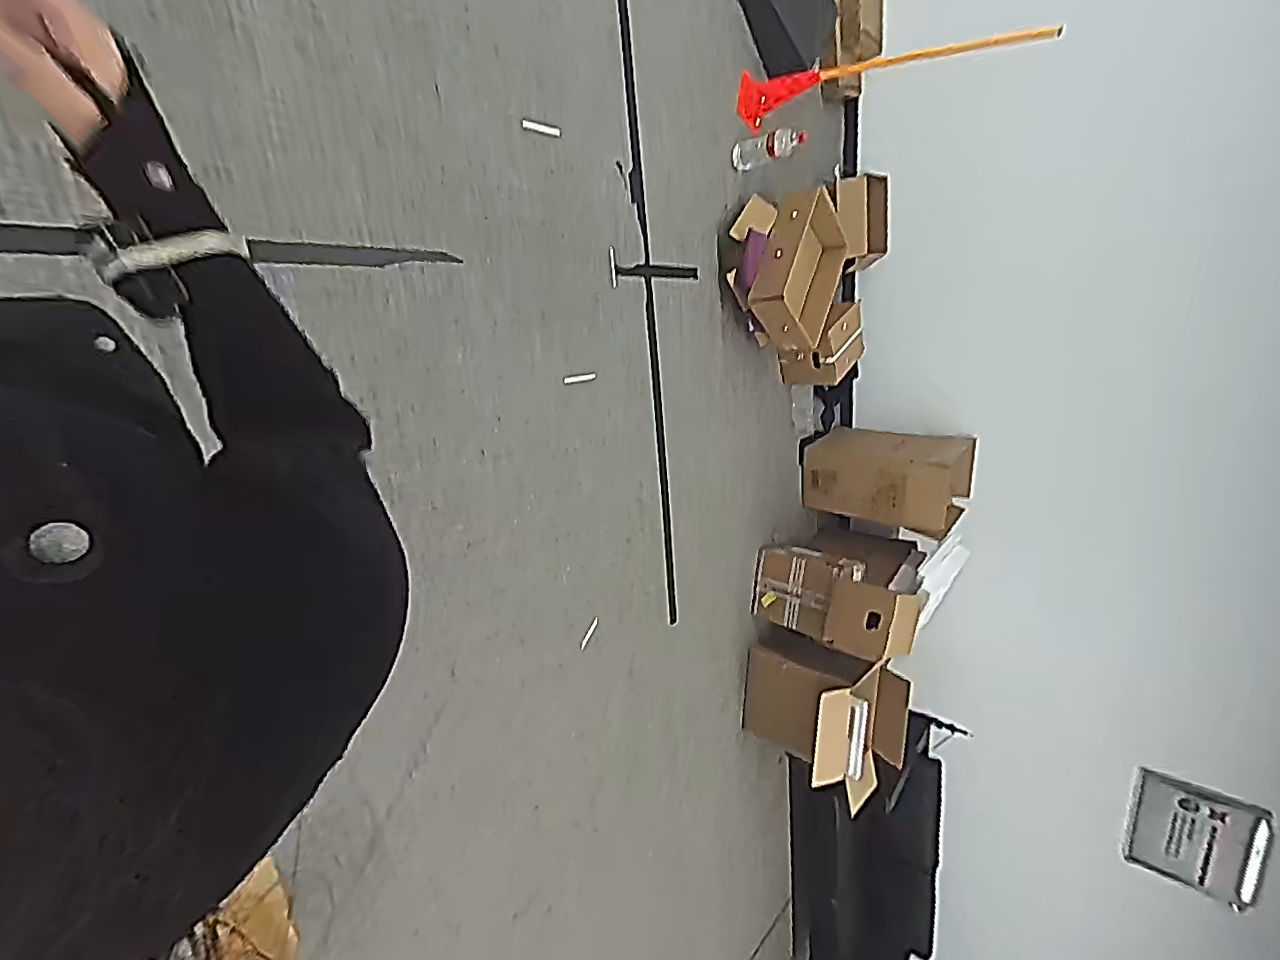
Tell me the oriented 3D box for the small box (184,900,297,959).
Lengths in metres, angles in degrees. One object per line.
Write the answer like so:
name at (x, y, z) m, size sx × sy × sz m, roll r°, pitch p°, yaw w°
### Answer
small box at (-0.954, 1.177, 1.306) m, size 0.168 × 0.176 × 0.179 m, roll -33°, pitch 120°, yaw -41°
